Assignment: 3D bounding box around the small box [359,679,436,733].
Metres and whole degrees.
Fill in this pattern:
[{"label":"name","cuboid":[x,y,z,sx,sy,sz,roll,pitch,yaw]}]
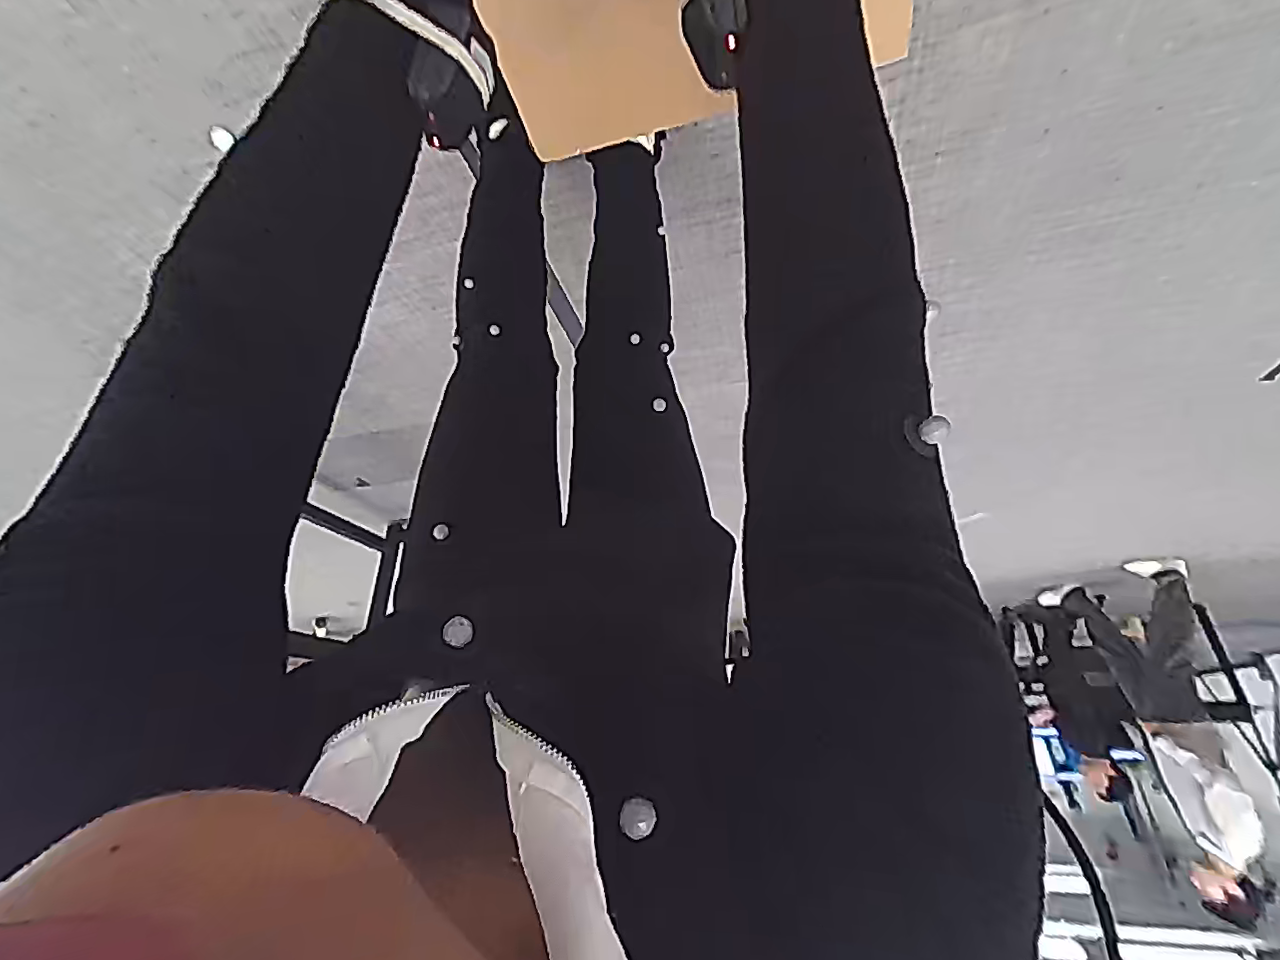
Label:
[{"label":"small box","cuboid":[-0.851,0.798,1.909,0.168,0.176,0.179,-8,154,18]}]
